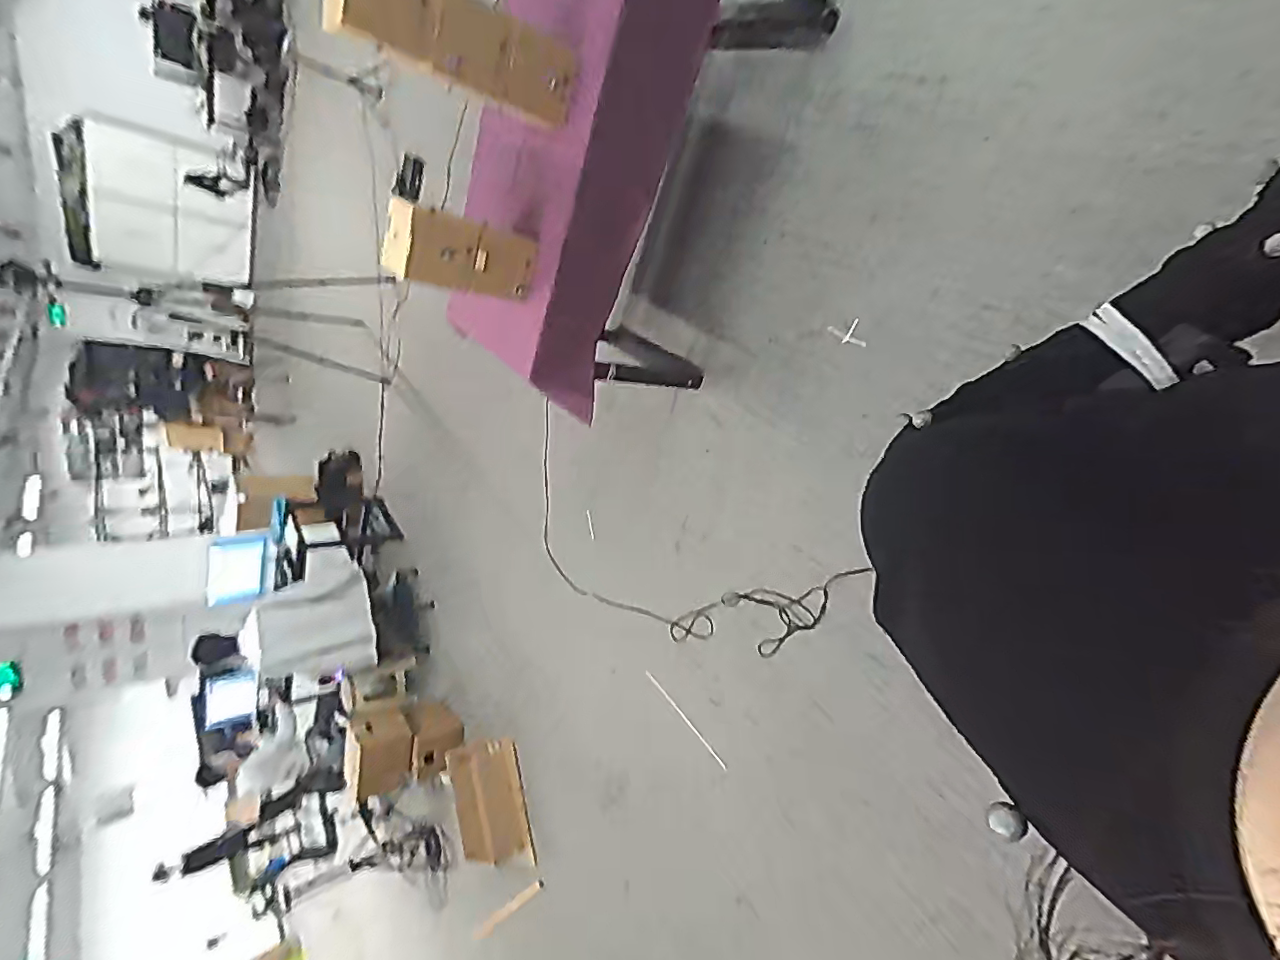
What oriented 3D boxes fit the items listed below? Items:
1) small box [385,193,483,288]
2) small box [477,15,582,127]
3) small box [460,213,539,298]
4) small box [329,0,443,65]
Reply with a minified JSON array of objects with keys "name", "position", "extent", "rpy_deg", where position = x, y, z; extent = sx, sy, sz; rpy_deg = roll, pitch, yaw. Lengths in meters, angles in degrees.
[{"name":"small box","position":[-0.520,-0.600,1.368],"extent":[0.179,0.176,0.168],"rpy_deg":[40,119,37]},{"name":"small box","position":[-0.270,-0.991,1.318],"extent":[0.179,0.176,0.168],"rpy_deg":[42,122,37]},{"name":"small box","position":[-0.398,-0.608,1.477],"extent":[0.179,0.176,0.168],"rpy_deg":[39,119,40]},{"name":"small box","position":[-0.516,-0.982,1.102],"extent":[0.179,0.176,0.168],"rpy_deg":[40,119,40]}]
